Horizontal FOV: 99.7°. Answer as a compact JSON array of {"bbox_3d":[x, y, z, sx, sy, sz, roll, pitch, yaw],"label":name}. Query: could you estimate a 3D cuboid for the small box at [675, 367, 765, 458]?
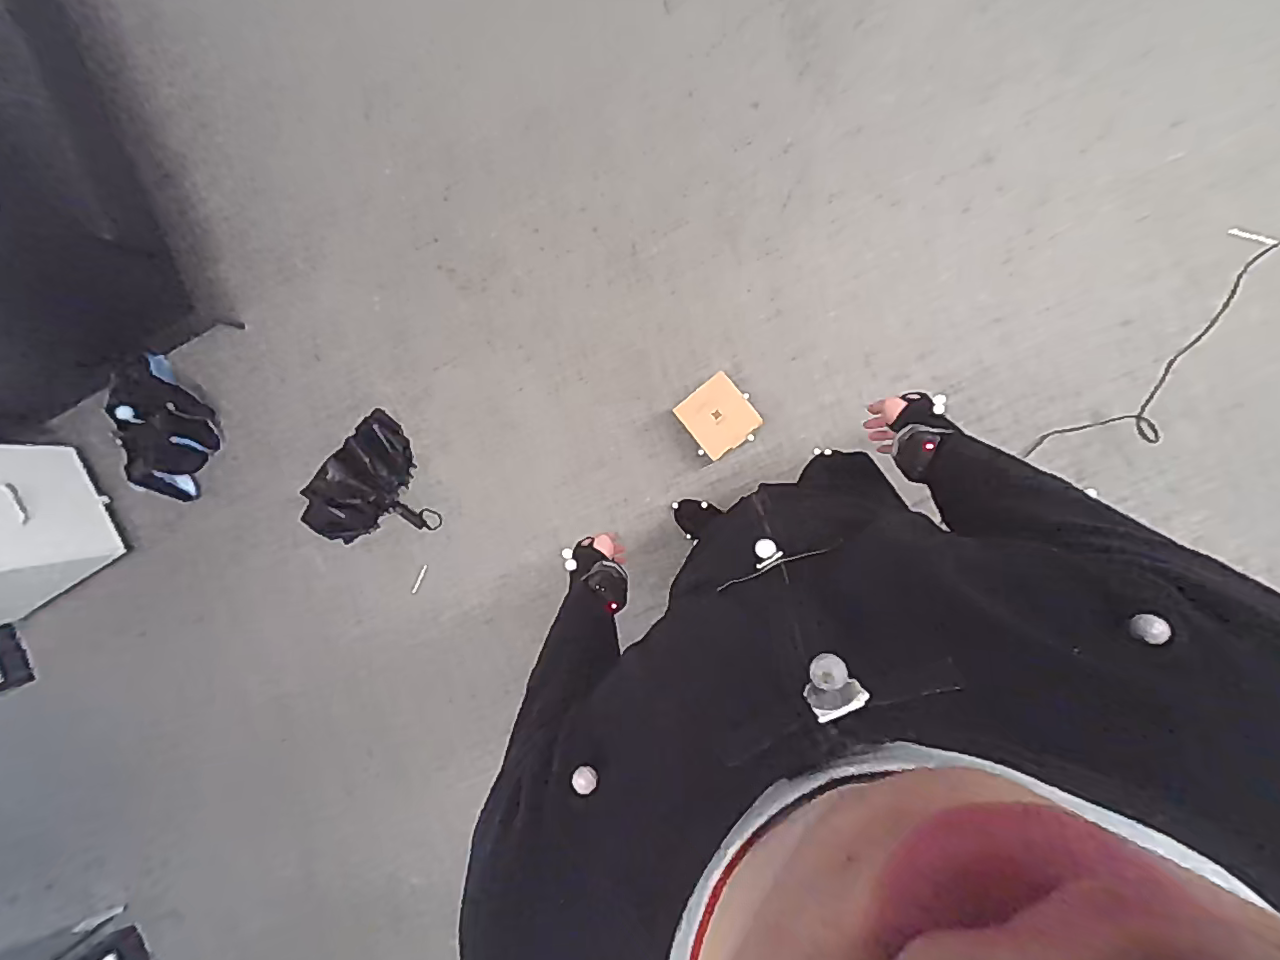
[{"bbox_3d":[0.217,-0.176,1.462,0.168,0.176,0.179,-39,85,8],"label":"small box"}]
